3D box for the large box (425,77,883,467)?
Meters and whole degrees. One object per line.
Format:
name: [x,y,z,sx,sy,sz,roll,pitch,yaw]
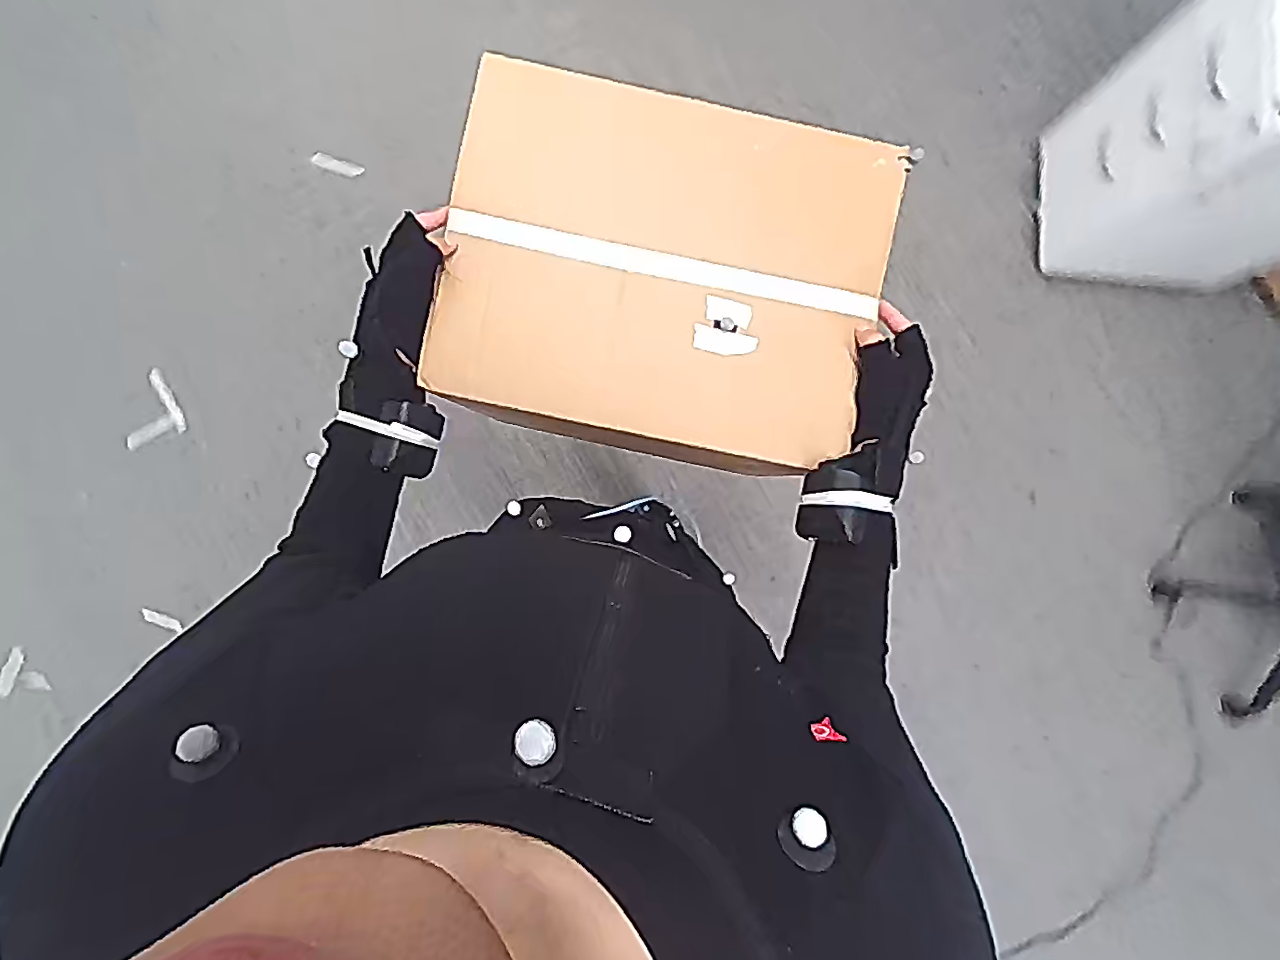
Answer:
large box: [0.008,-0.199,0.661,0.408,0.320,0.320,10,91,-3]
